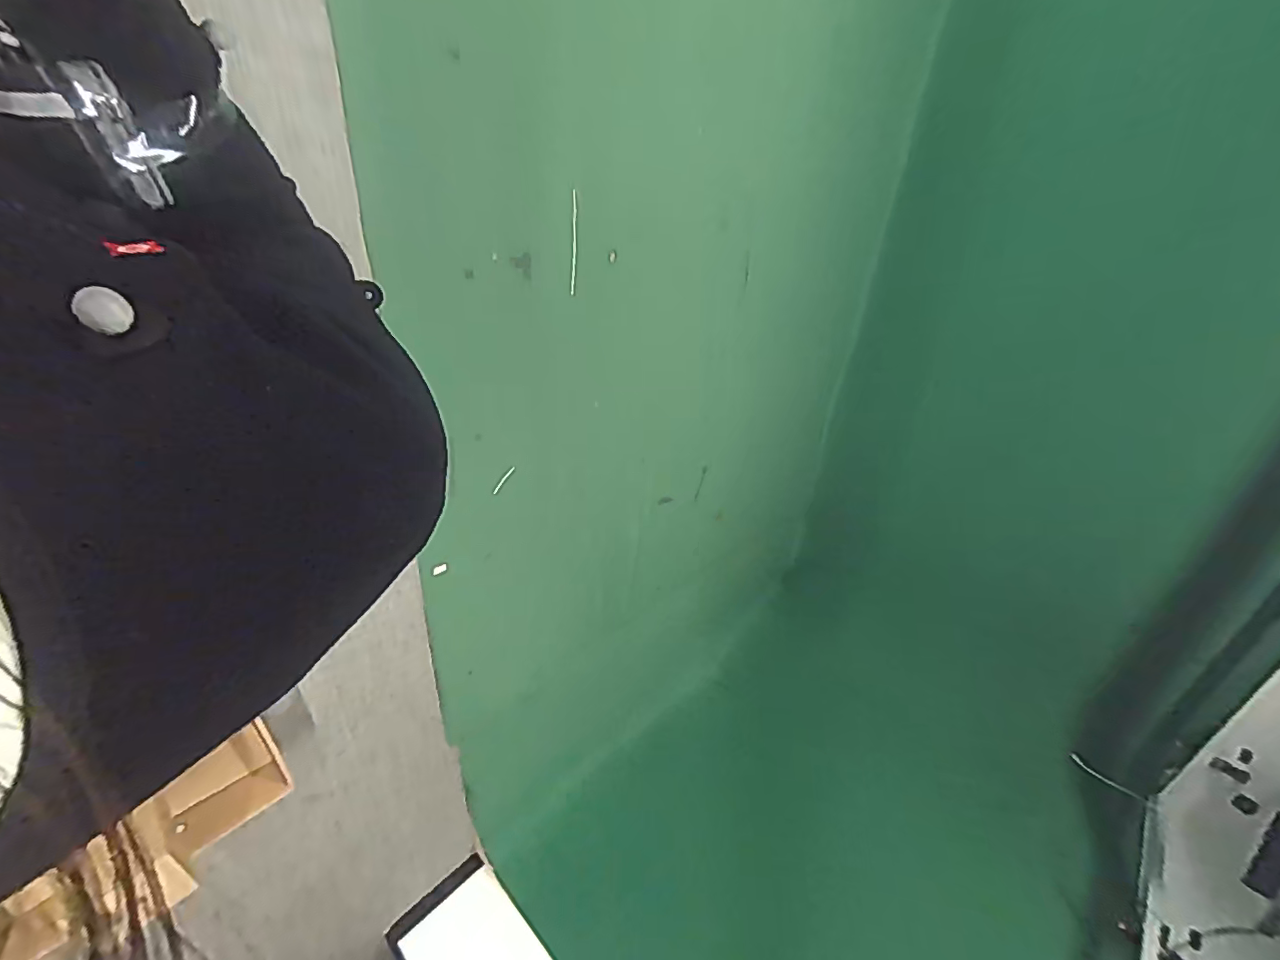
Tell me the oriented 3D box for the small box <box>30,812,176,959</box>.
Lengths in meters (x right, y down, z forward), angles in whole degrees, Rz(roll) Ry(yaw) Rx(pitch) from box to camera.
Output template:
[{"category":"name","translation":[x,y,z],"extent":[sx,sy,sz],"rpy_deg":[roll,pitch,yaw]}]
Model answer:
[{"category":"small box","translation":[-1.151,0.871,1.160],"extent":[0.179,0.176,0.168],"rpy_deg":[-28,133,-40]}]

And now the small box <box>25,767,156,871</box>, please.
[{"category":"small box","translation":[-1.269,0.807,1.253],"extent":[0.168,0.176,0.179],"rpy_deg":[-25,133,-40]}]
